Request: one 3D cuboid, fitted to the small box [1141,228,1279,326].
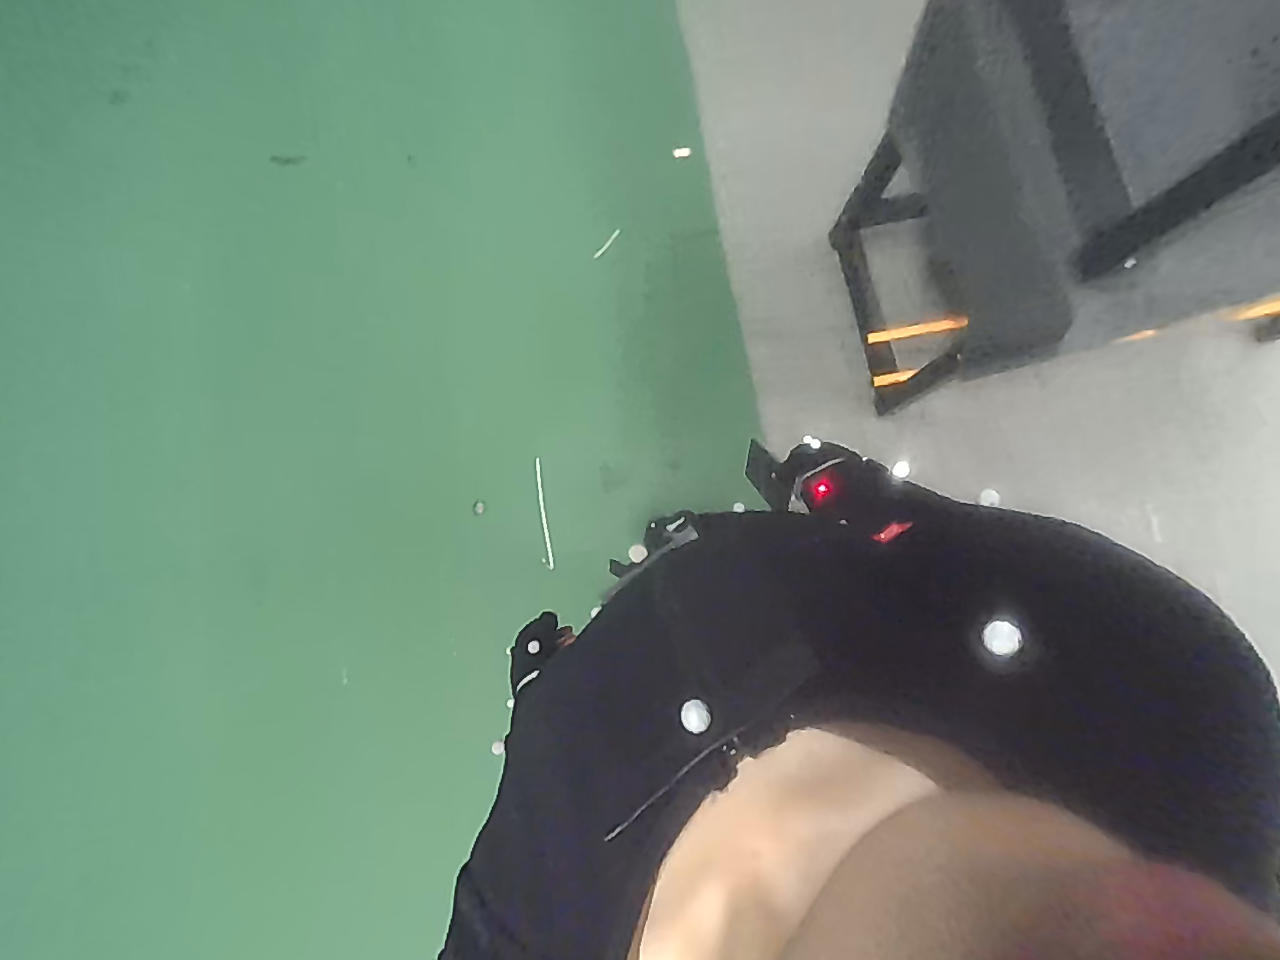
[{"bbox_3d":[1.437,-0.503,1.368,0.168,0.176,0.179,-8,83,0],"label":"small box"}]
